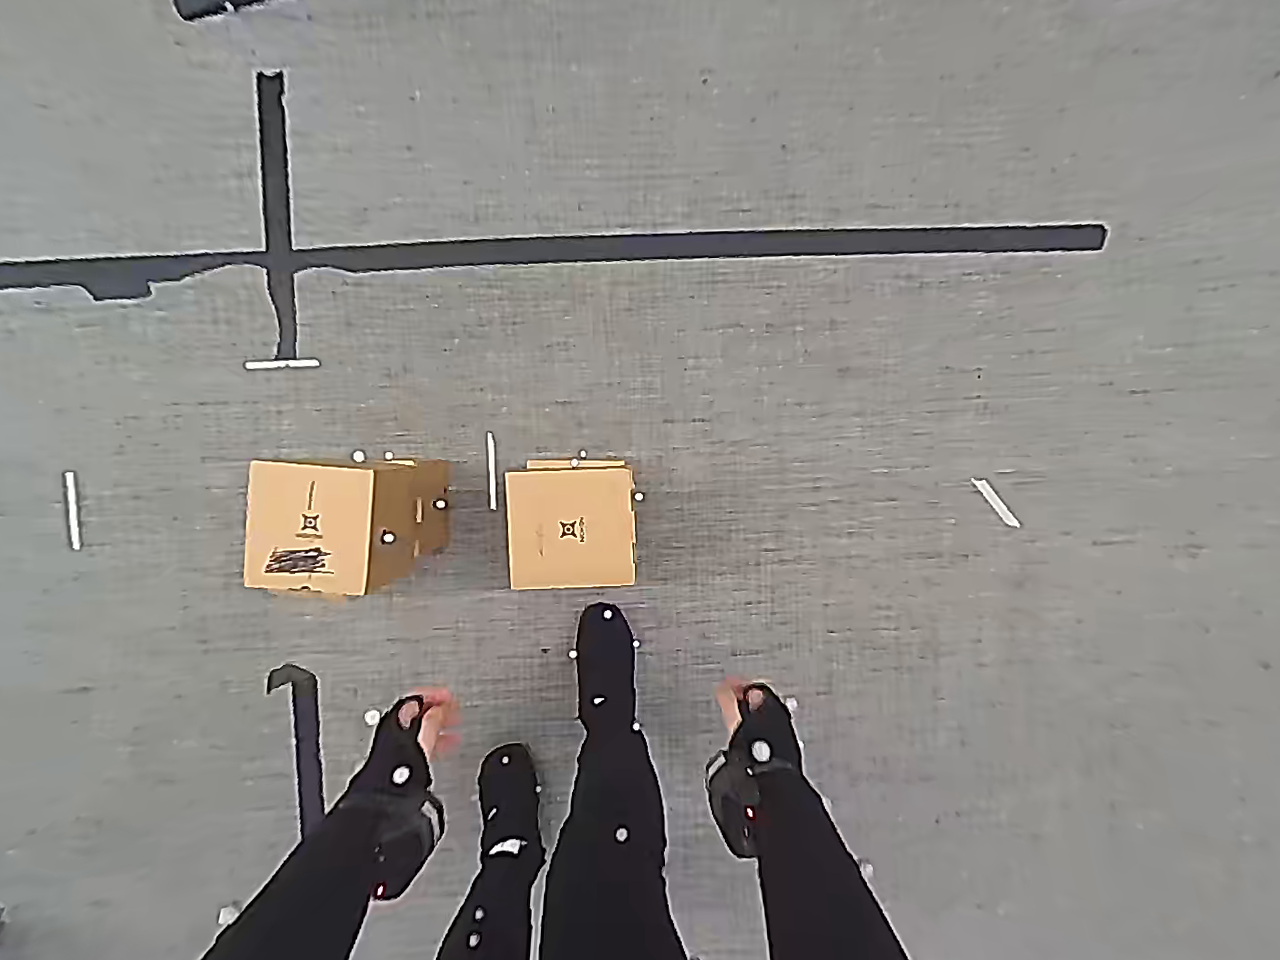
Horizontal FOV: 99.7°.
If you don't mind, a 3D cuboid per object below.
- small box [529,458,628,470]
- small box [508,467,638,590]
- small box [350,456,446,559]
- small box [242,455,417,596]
[{"bbox_3d":[-0.108,0.049,0.978,0.168,0.176,0.179,1,94,-2],"label":"small box"},{"bbox_3d":[-0.095,0.065,0.816,0.179,0.176,0.168,-1,93,-1],"label":"small box"},{"bbox_3d":[-0.456,0.043,0.966,0.179,0.176,0.168,1,93,-3],"label":"small box"},{"bbox_3d":[-0.446,0.059,0.802,0.168,0.176,0.179,6,93,-3],"label":"small box"}]
